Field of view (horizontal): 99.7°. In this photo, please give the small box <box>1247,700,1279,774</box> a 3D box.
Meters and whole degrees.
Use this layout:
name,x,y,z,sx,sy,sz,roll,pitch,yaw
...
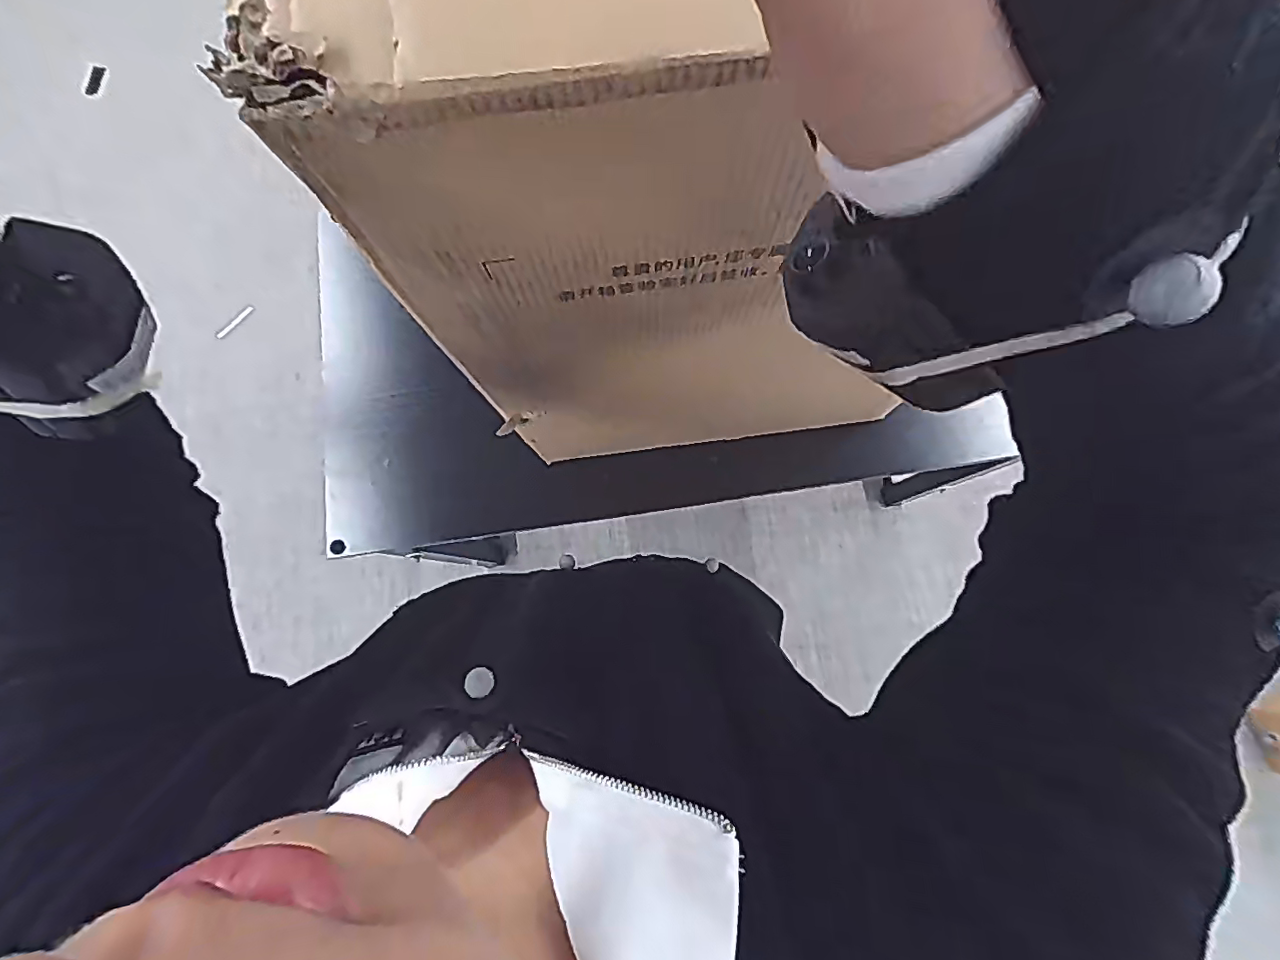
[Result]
name,x,y,z,sx,sy,sz,roll,pitch,yaw
small box,1.650,0.624,1.293,0.179,0.176,0.168,-15,78,0
